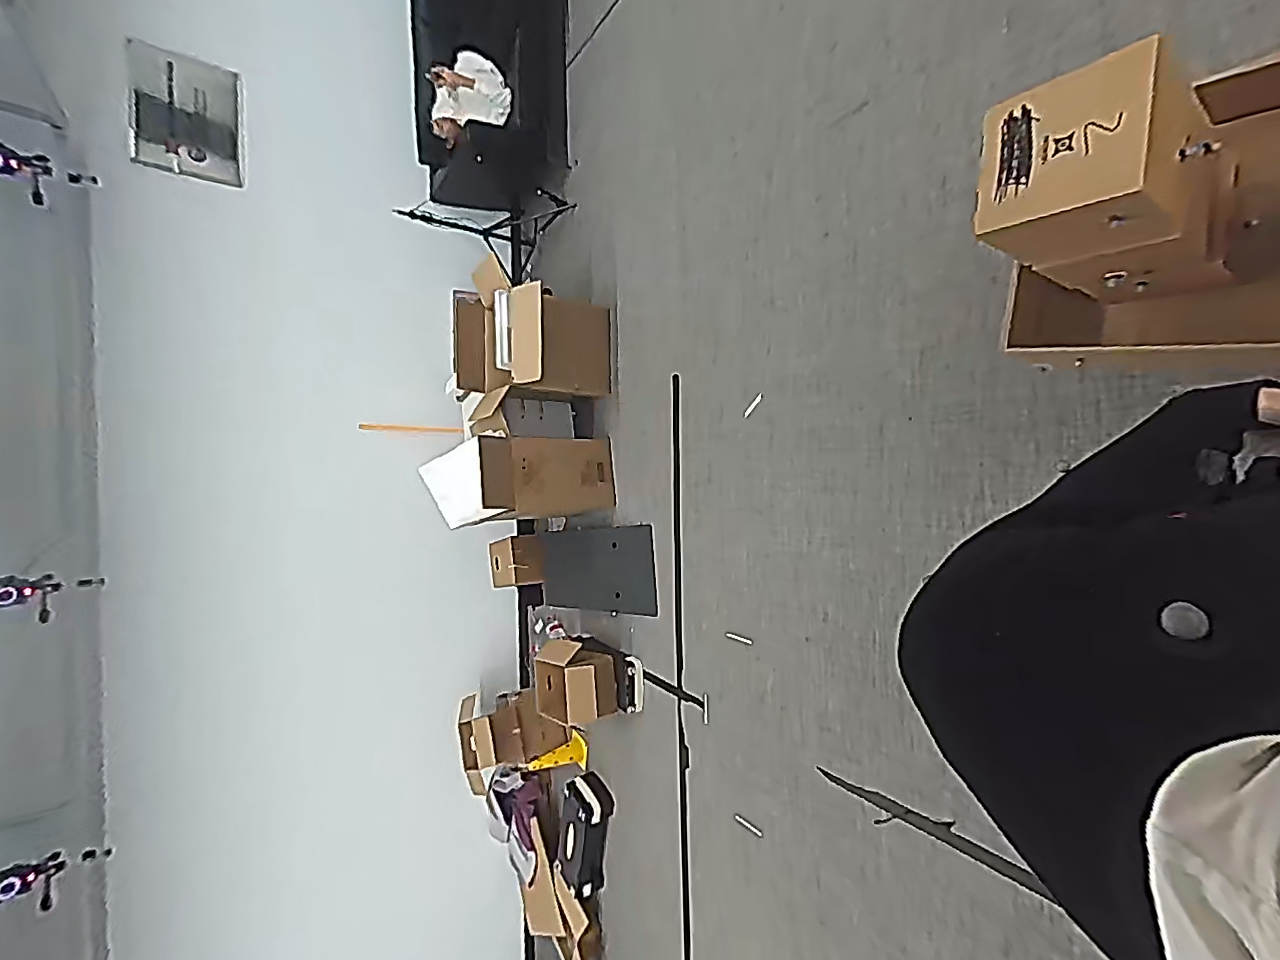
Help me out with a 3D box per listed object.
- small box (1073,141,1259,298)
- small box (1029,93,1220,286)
[{"bbox_3d":[0.841,-0.400,0.870,0.179,0.176,0.168,11,100,54],"label":"small box"},{"bbox_3d":[0.700,-0.401,0.784,0.168,0.176,0.179,7,96,57],"label":"small box"}]
